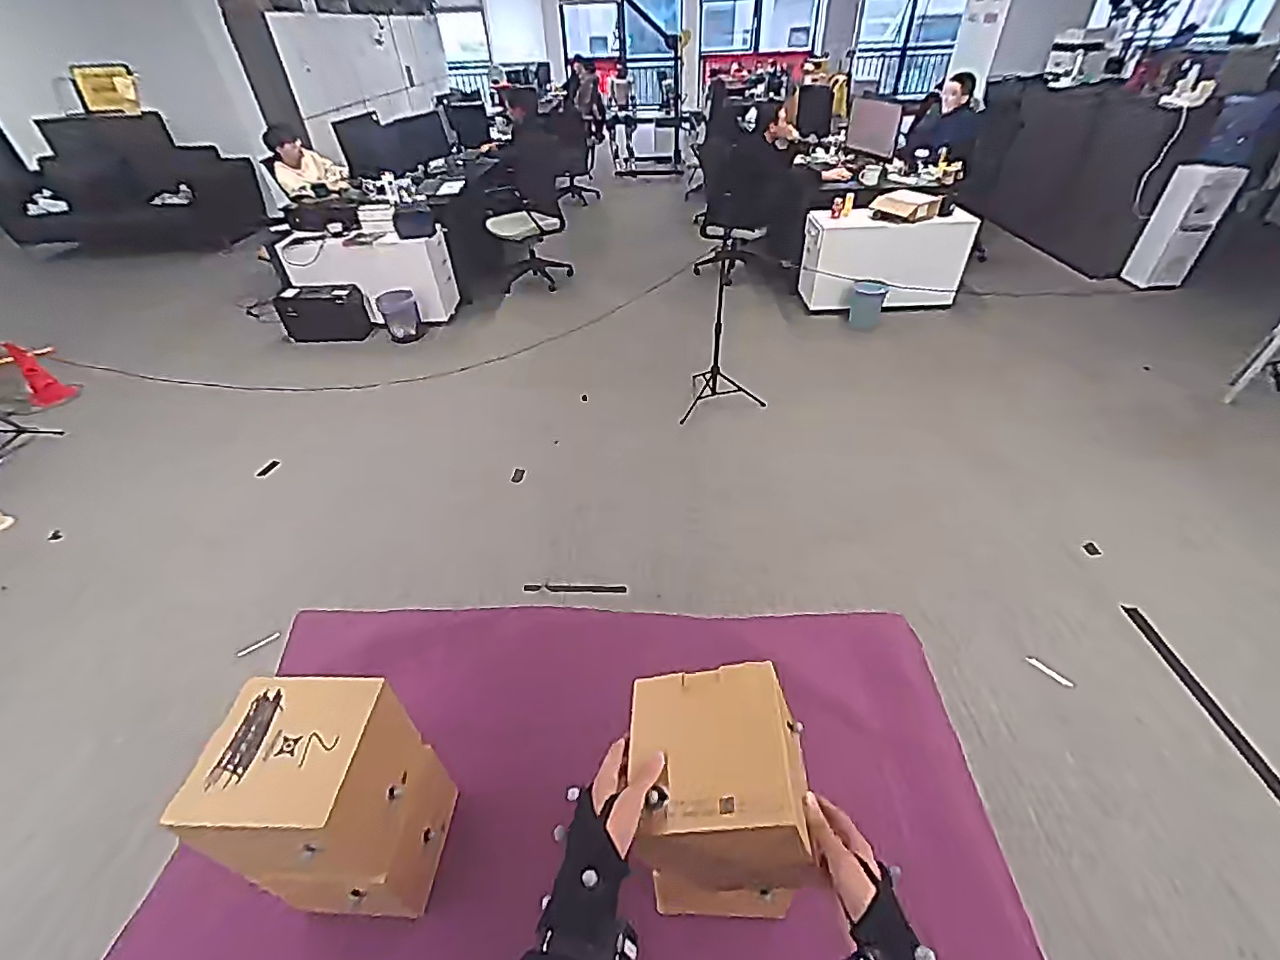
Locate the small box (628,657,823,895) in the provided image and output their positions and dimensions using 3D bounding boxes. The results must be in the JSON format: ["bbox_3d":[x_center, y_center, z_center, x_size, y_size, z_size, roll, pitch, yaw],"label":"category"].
[{"bbox_3d":[0.093,0.328,0.596,0.168,0.179,0.176,-16,36,17],"label":"small box"}]

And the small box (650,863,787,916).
[{"bbox_3d":[0.105,0.478,0.744,0.179,0.176,0.168,0,40,3],"label":"small box"}]

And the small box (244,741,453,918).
[{"bbox_3d":[-0.383,0.488,0.755,0.179,0.176,0.168,0,40,3],"label":"small box"}]
